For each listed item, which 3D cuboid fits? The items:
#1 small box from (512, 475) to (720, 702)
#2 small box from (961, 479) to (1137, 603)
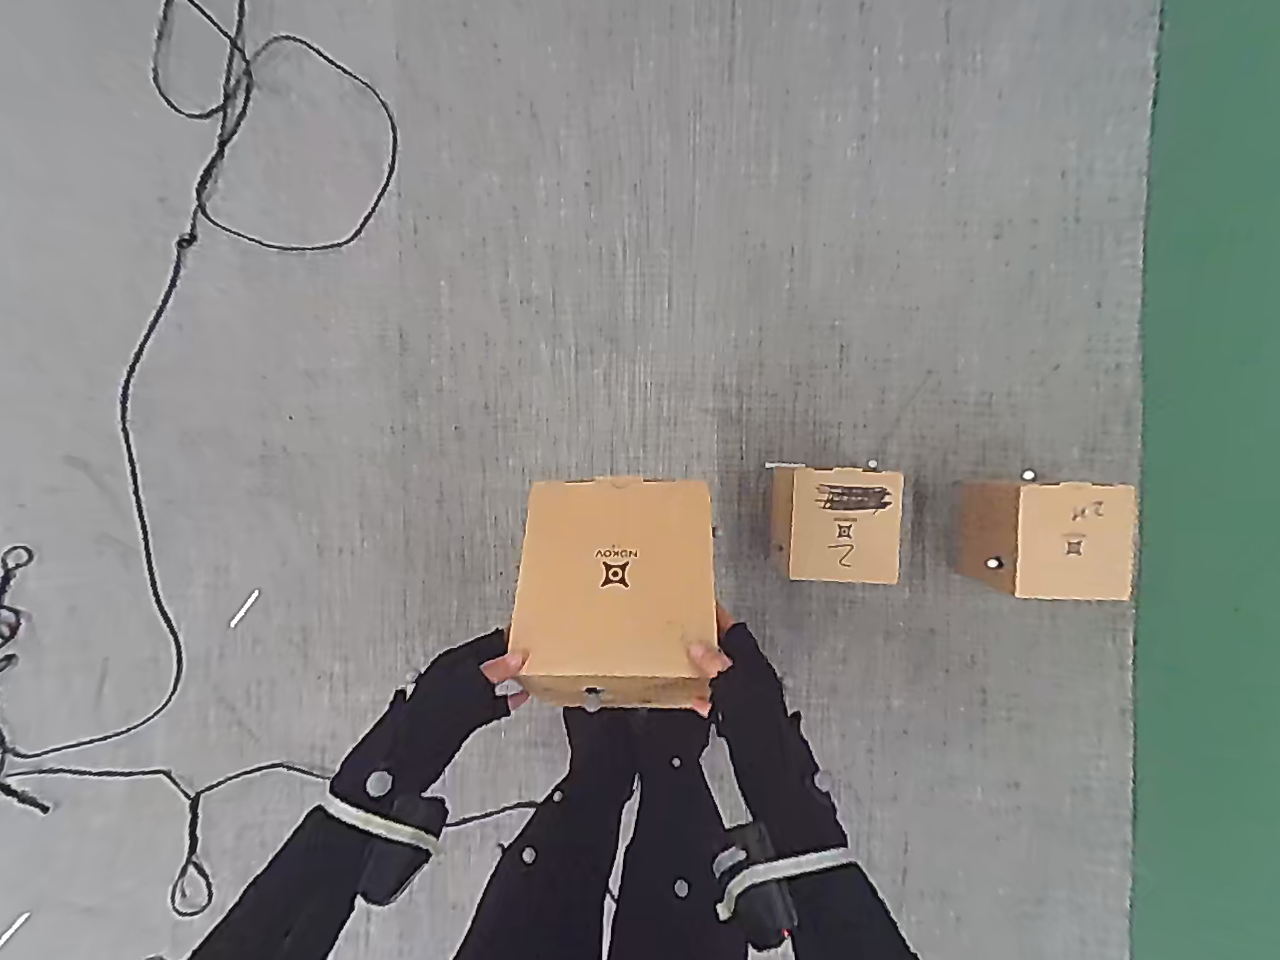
[{"bbox_3d":[-0.013,0.112,0.522,0.168,0.176,0.179,-1,59,3],"label":"small box"},{"bbox_3d":[0.648,0.090,0.878,0.168,0.176,0.179,1,92,4],"label":"small box"}]
